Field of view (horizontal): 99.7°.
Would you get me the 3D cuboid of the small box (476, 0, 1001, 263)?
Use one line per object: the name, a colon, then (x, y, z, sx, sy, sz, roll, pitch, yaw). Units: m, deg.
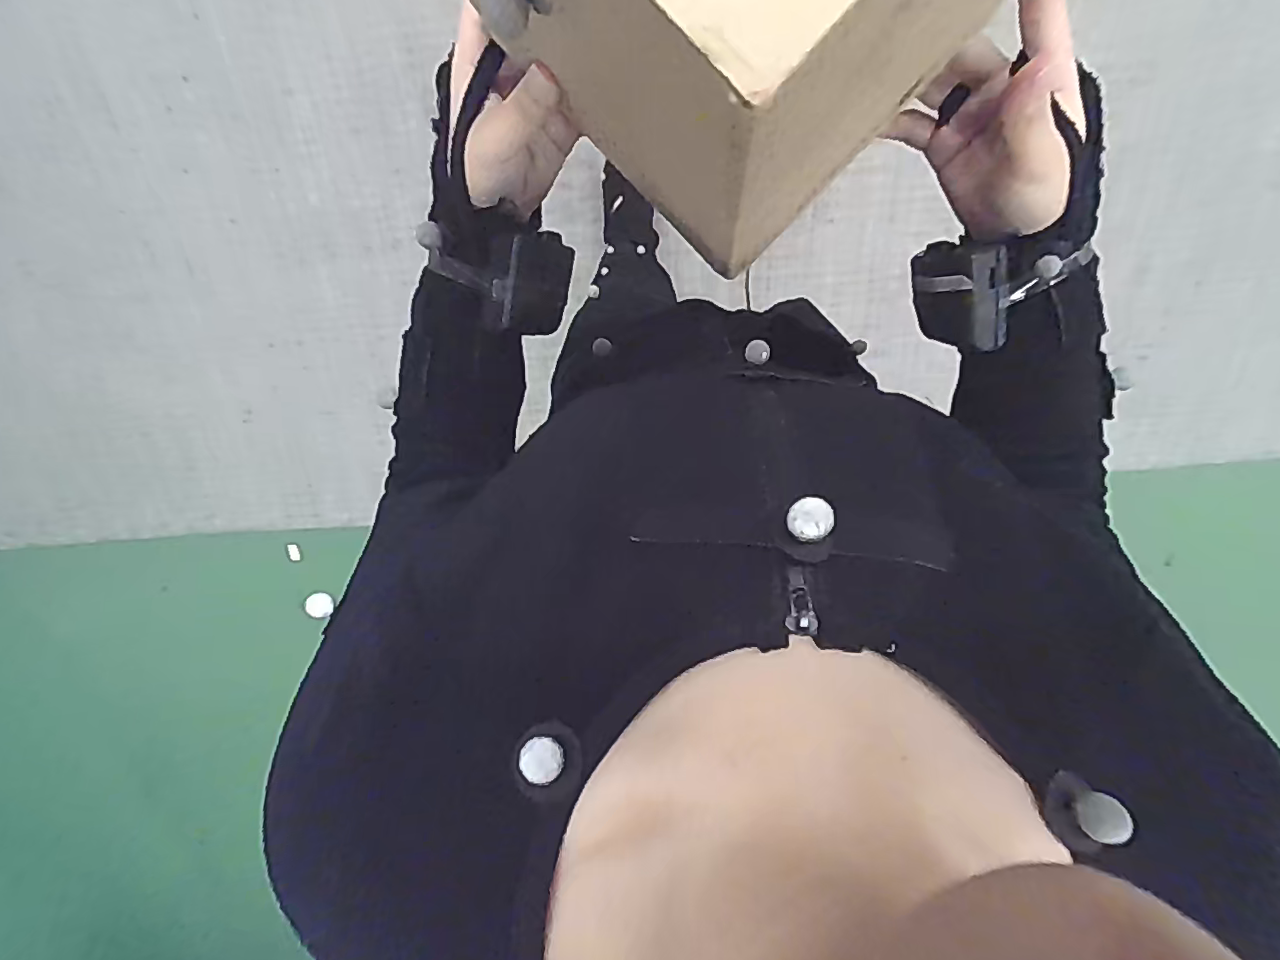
small box: (0.032, -0.205, 0.182, 0.179, 0.176, 0.168, 45, 102, 0)
